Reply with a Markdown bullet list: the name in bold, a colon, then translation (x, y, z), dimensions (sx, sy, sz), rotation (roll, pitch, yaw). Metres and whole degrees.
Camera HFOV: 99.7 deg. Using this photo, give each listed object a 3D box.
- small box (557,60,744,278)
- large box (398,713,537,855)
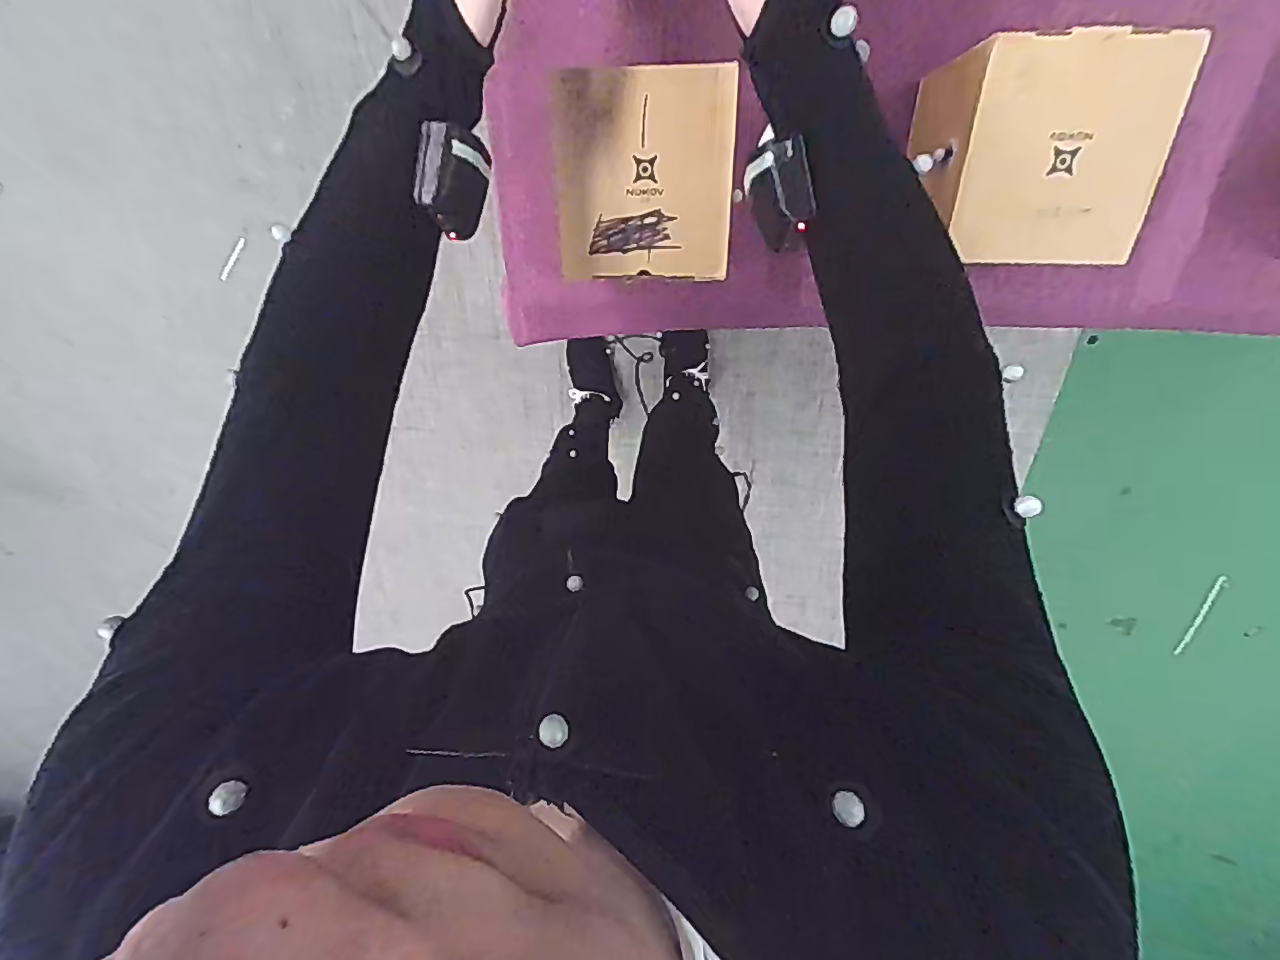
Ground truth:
- **small box**: translation (0.014, -0.317, 0.572), dimensions (0.168, 0.176, 0.179), rotation (2, 116, 4)
- **large box**: translation (-0.675, 1.200, 2.148), dimensions (0.408, 0.320, 0.320), rotation (23, 117, -8)
